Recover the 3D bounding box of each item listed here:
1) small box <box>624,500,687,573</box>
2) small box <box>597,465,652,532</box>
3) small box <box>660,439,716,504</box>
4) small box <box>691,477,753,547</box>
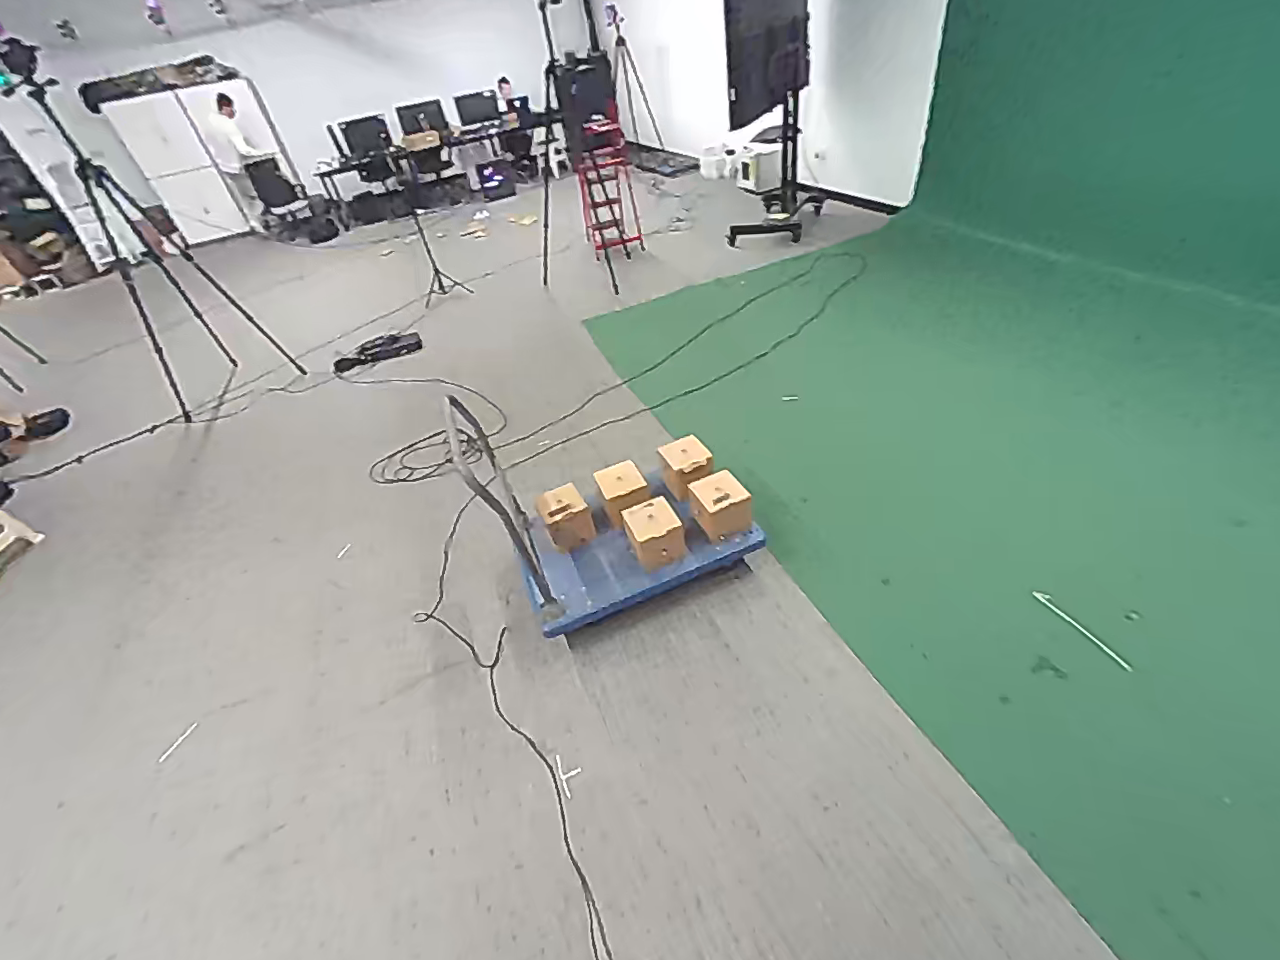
[{"bbox_3d":[0.060,0.210,1.934,0.168,0.176,0.179,-20,41,-10],"label":"small box"},{"bbox_3d":[-0.058,0.073,2.128,0.168,0.176,0.179,-21,42,-11],"label":"small box"},{"bbox_3d":[0.196,-0.031,2.184,0.168,0.176,0.179,-22,41,-11],"label":"small box"},{"bbox_3d":[0.306,0.125,1.999,0.168,0.176,0.179,-21,40,-12],"label":"small box"}]
